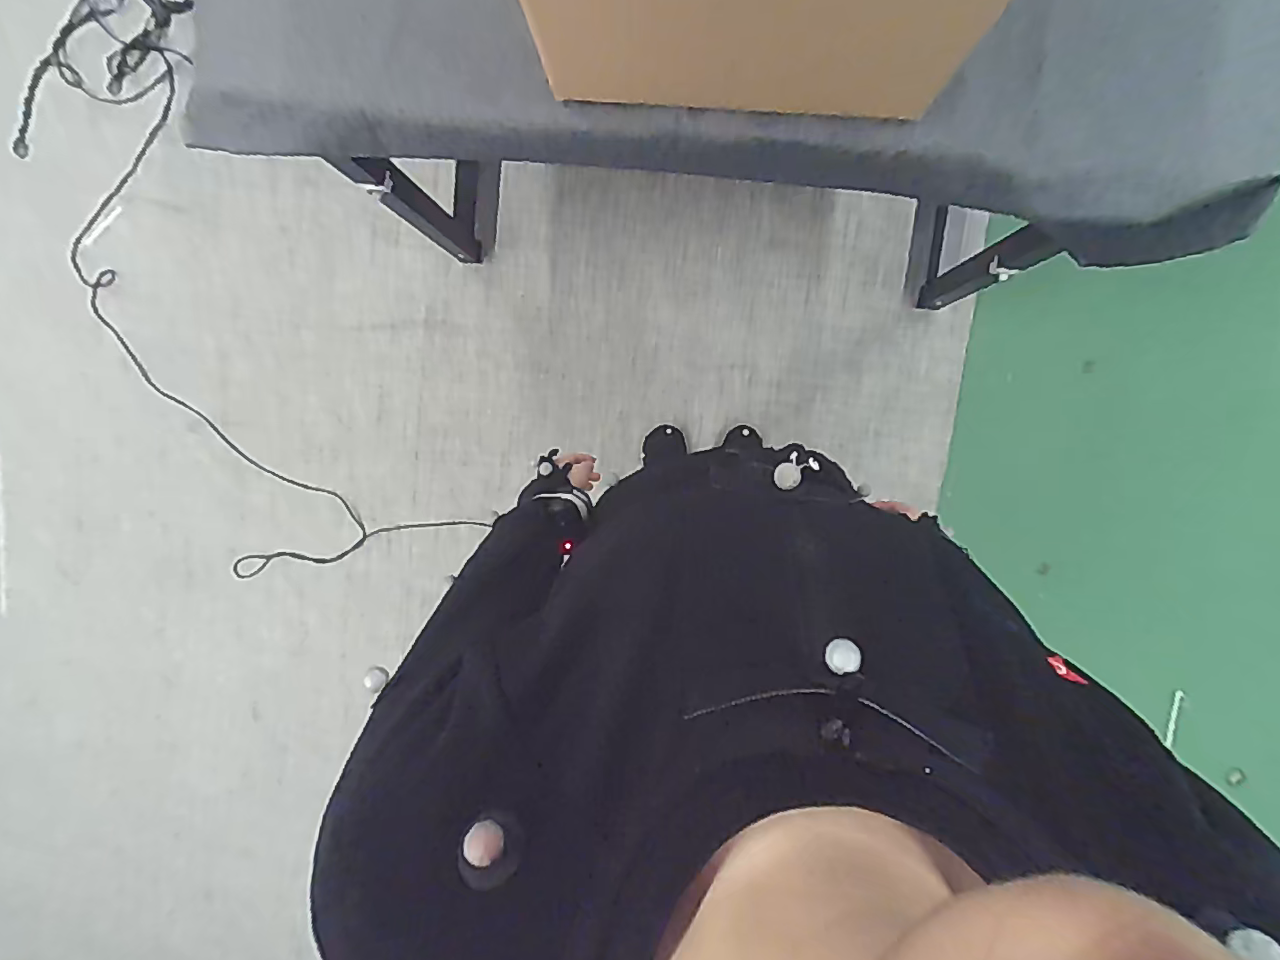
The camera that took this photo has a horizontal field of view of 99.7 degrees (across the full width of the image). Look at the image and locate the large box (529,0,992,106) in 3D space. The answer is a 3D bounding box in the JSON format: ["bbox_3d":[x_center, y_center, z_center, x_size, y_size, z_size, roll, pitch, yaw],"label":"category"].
[{"bbox_3d":[0.104,-0.556,0.438,0.408,0.320,0.320,5,95,3],"label":"large box"}]
